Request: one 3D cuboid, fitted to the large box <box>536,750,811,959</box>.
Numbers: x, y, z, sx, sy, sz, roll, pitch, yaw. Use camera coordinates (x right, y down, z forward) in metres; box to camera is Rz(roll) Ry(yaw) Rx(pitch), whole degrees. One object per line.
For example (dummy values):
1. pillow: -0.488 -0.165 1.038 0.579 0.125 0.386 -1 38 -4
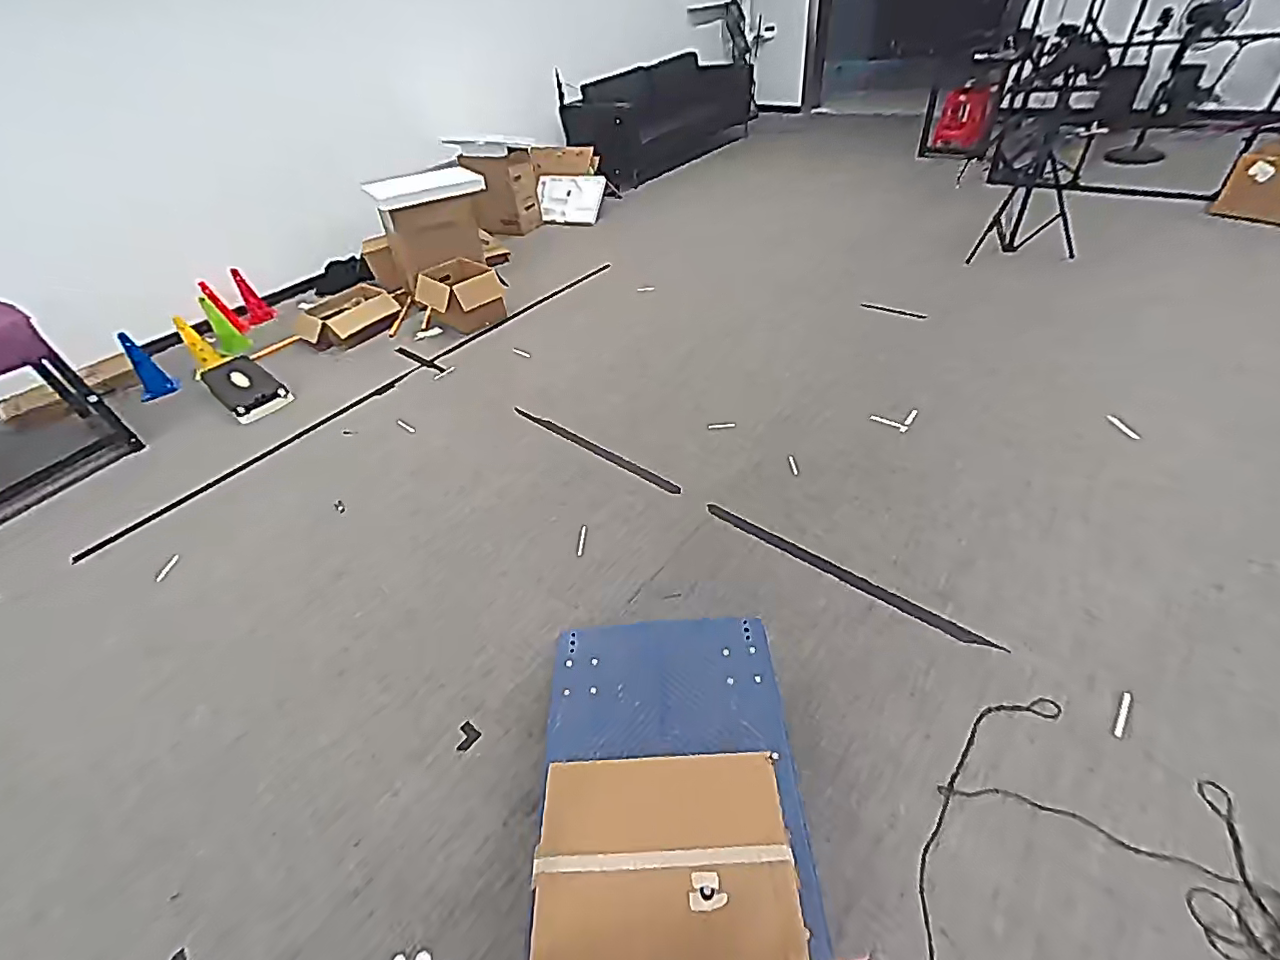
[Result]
1. large box: 0.050 0.716 0.968 0.408 0.320 0.320 -4 43 2
